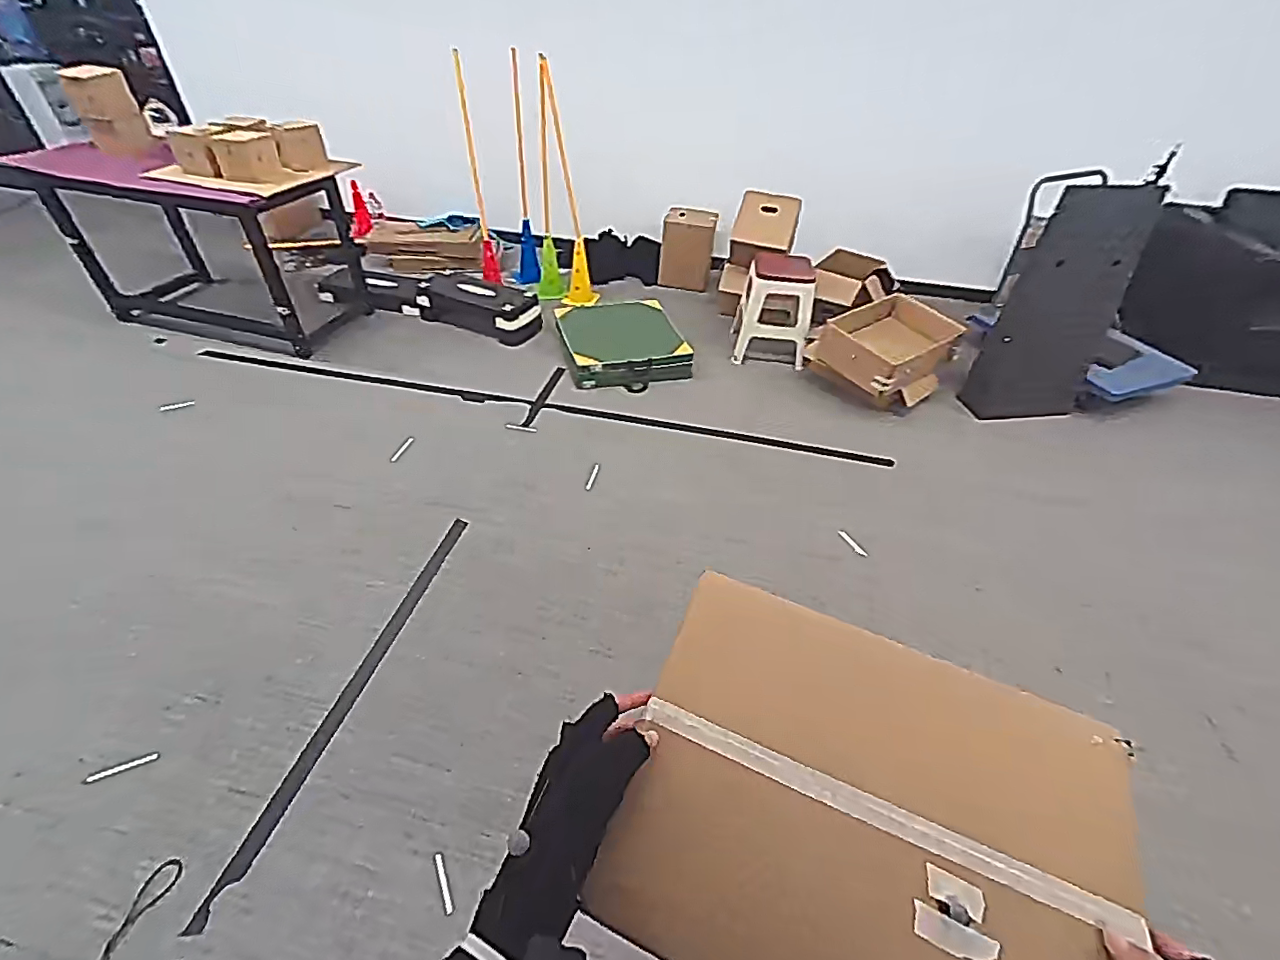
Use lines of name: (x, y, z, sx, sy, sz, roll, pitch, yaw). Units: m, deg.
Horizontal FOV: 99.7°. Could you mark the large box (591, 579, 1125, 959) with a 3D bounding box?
large box: (0.194, 0.370, 0.590, 0.408, 0.320, 0.320, 20, 56, 13)
